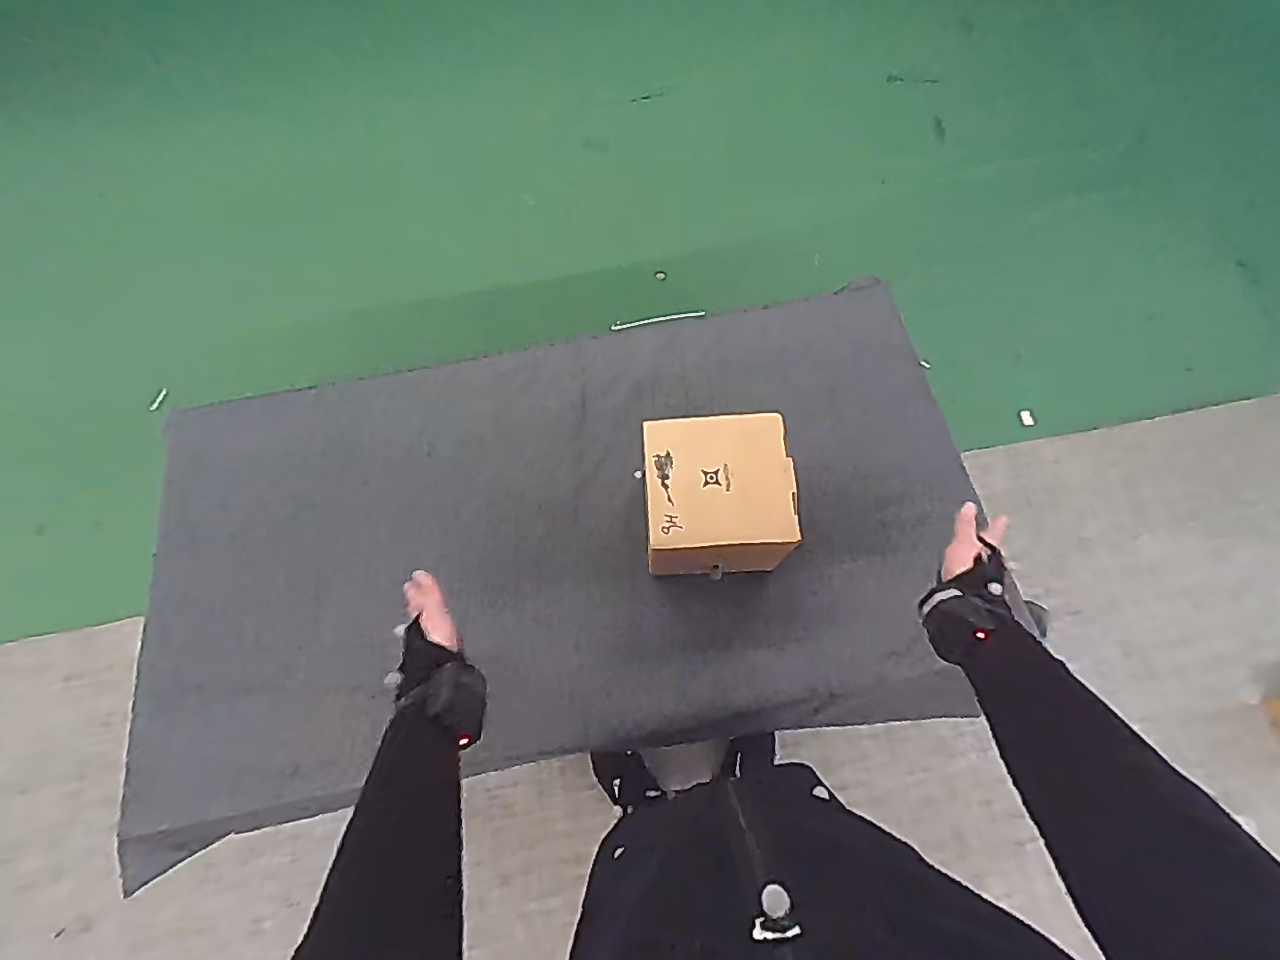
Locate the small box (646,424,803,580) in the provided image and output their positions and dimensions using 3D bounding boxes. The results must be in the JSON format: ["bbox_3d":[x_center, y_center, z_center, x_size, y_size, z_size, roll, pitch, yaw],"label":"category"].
[{"bbox_3d":[0.099,0.036,0.723,0.179,0.176,0.168,-3,69,0],"label":"small box"}]
